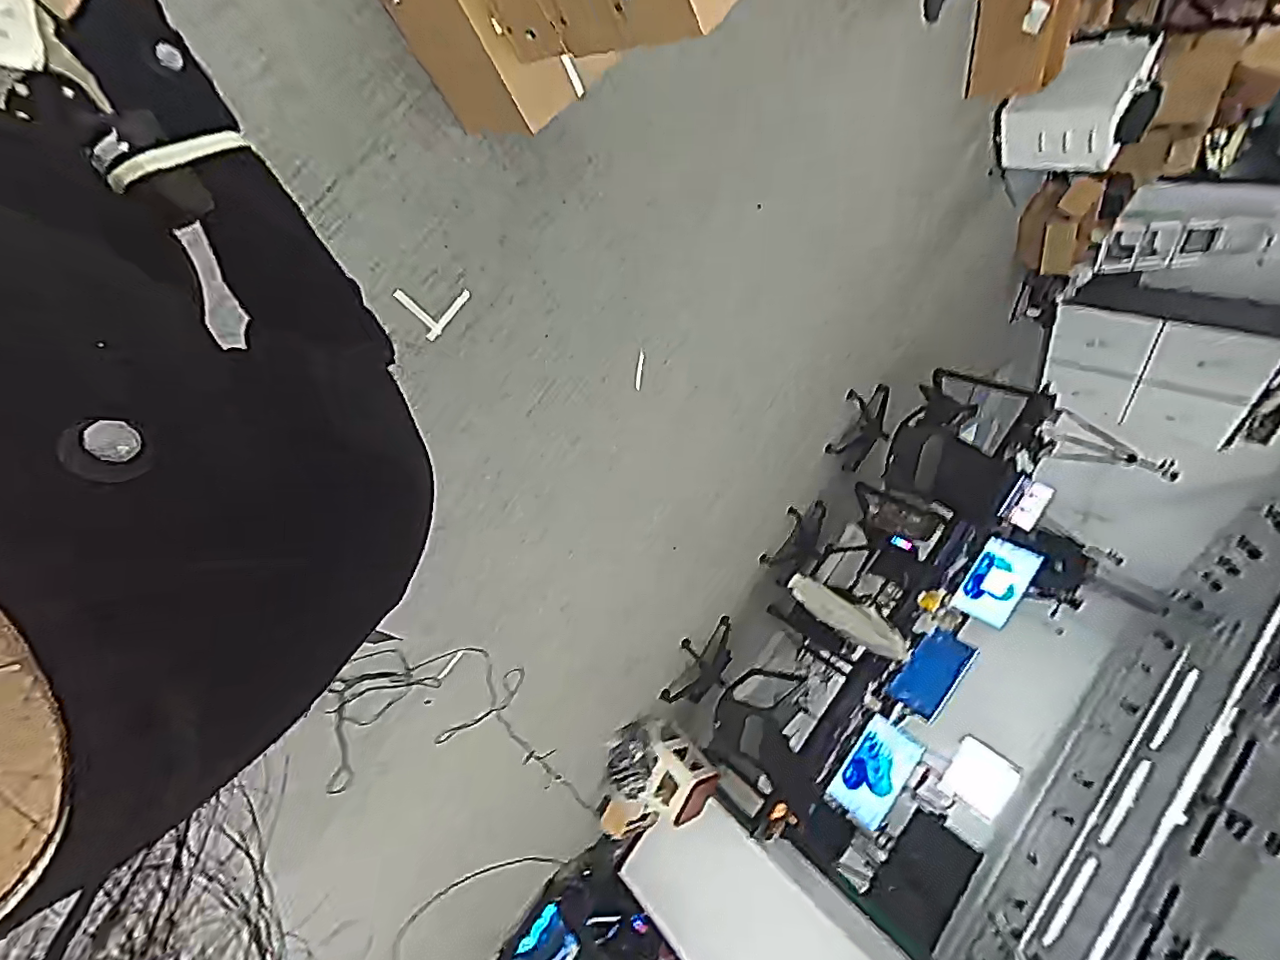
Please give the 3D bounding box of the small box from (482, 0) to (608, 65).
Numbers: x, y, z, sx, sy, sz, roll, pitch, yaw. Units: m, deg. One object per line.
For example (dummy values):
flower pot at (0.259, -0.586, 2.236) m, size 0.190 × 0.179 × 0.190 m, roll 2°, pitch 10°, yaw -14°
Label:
small box at (-0.179, -0.907, 0.997) m, size 0.179 × 0.176 × 0.168 m, roll -55°, pitch 142°, yaw -7°
